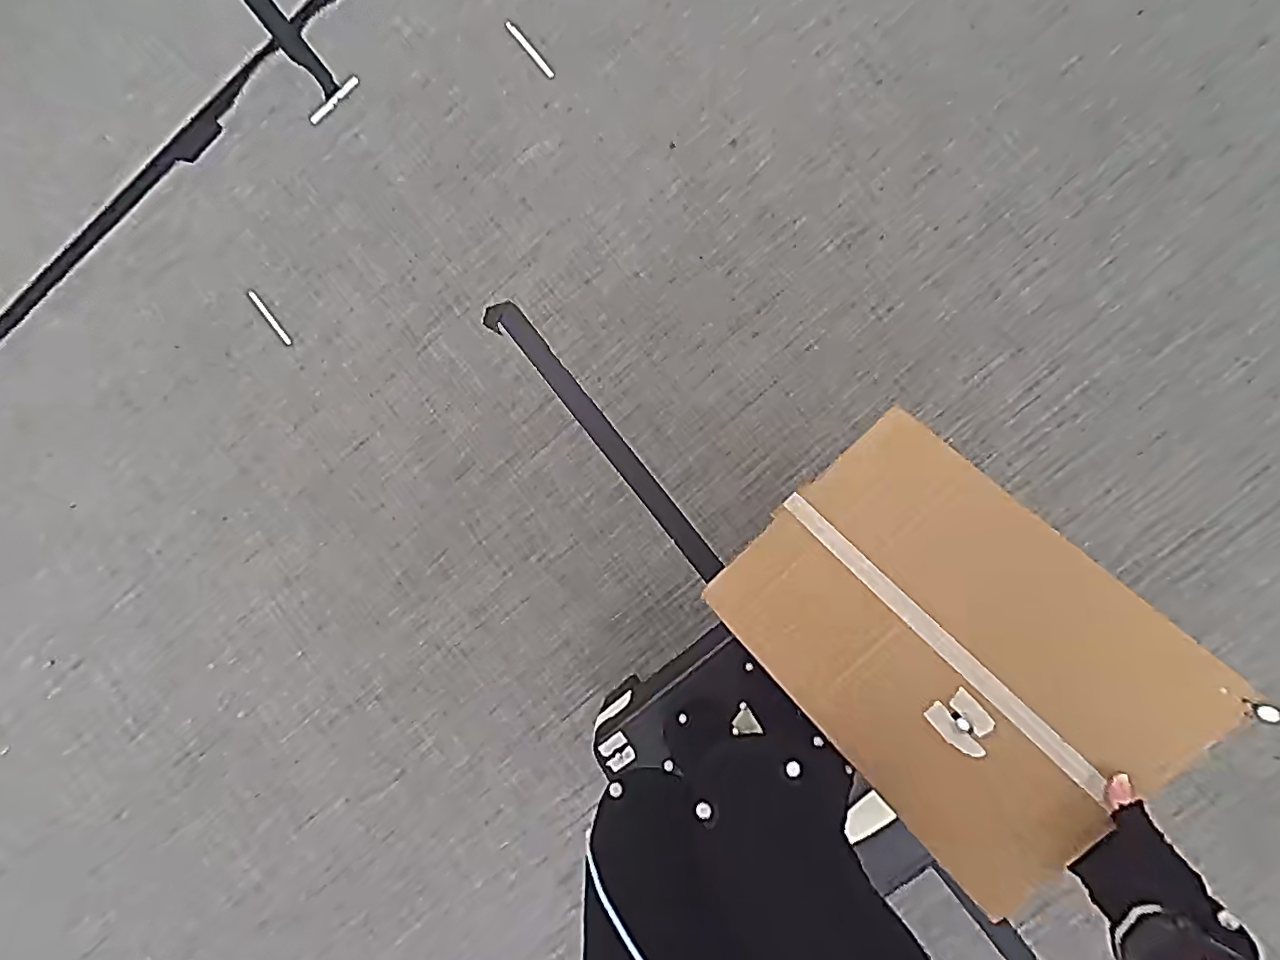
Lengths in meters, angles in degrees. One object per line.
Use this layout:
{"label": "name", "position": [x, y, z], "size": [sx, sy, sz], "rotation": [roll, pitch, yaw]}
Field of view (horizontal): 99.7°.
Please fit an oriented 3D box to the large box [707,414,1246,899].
{"label": "large box", "position": [0.356, 0.186, 0.703], "size": [0.320, 0.320, 0.408], "rotation": [-46, 69, 7]}
